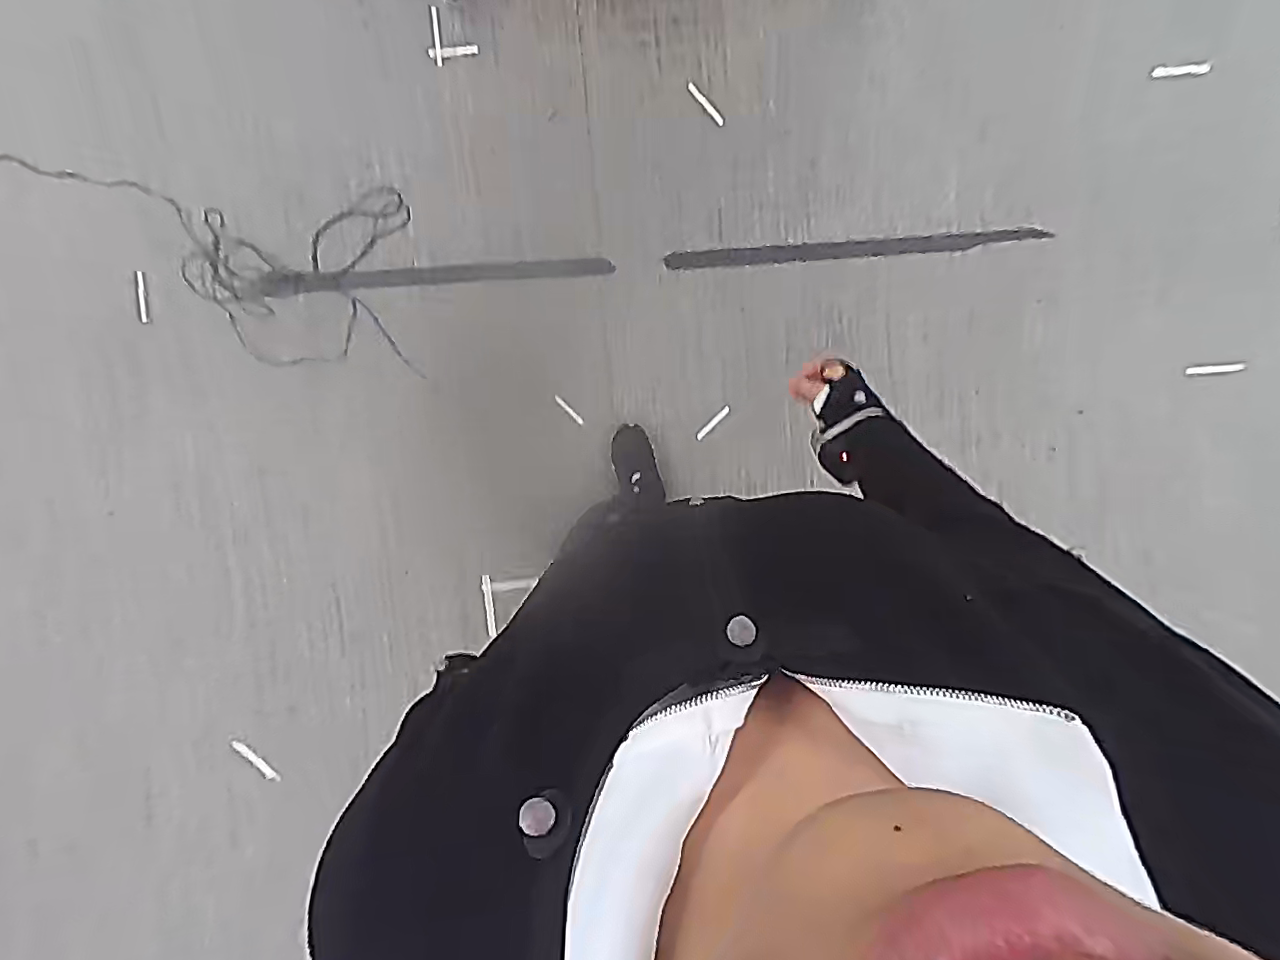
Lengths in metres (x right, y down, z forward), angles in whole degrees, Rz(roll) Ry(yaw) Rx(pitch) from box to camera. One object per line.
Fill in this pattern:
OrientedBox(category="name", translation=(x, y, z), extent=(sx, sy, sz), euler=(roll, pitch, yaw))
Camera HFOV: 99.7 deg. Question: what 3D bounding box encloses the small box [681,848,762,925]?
OrientedBox(category="small box", translation=(0.185, 0.946, 1.228), extent=(0.168, 0.176, 0.179), euler=(-6, 91, 1))
